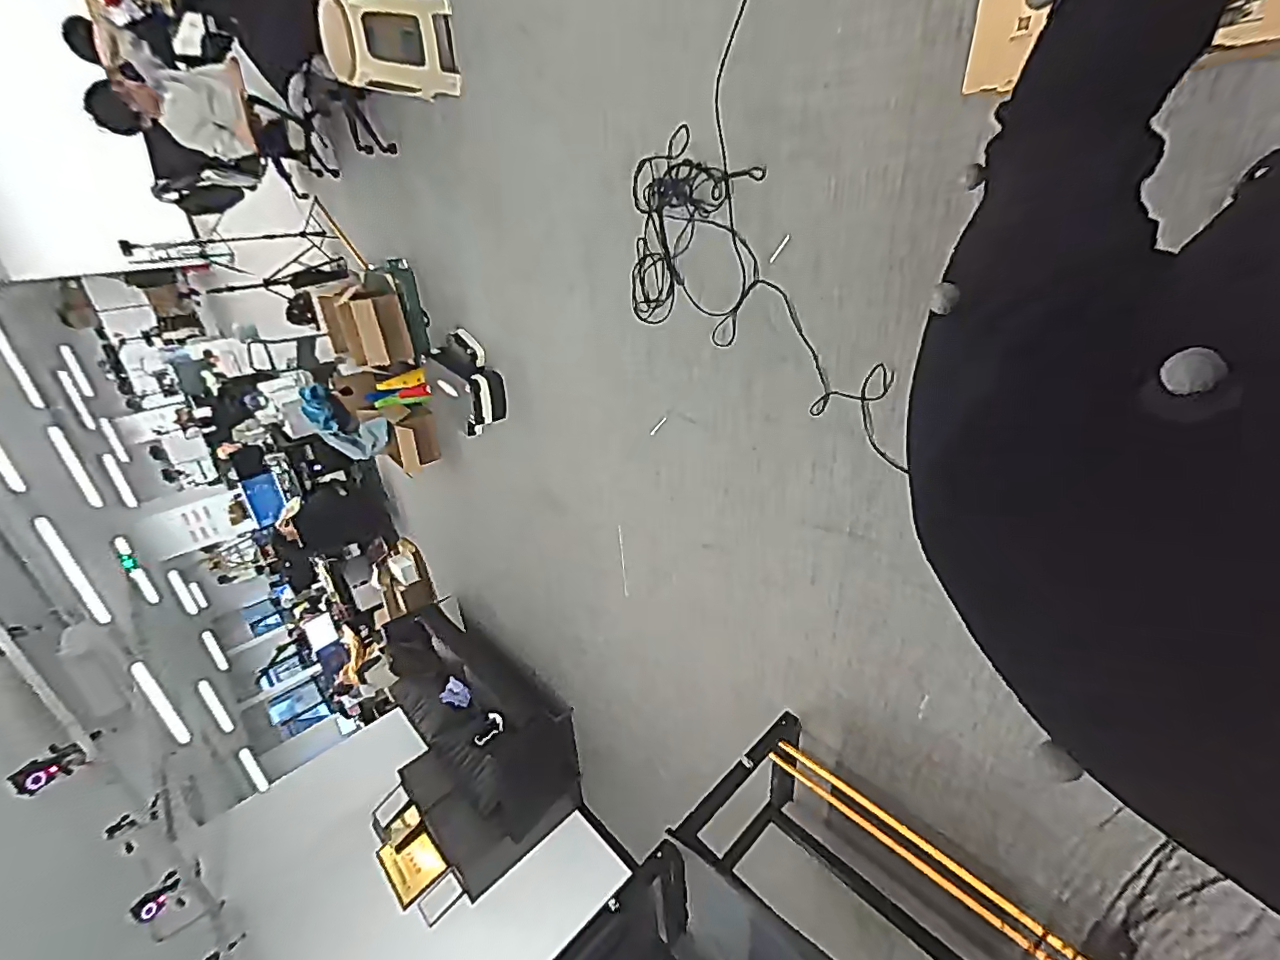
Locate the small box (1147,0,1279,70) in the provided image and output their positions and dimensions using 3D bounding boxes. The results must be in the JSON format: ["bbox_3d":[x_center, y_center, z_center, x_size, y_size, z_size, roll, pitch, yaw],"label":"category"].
[{"bbox_3d":[0.922,-0.746,0.821,0.168,0.176,0.179,24,126,42],"label":"small box"}]

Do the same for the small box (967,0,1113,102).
[{"bbox_3d":[0.743,-0.823,1.002,0.168,0.176,0.179,25,128,42],"label":"small box"}]
